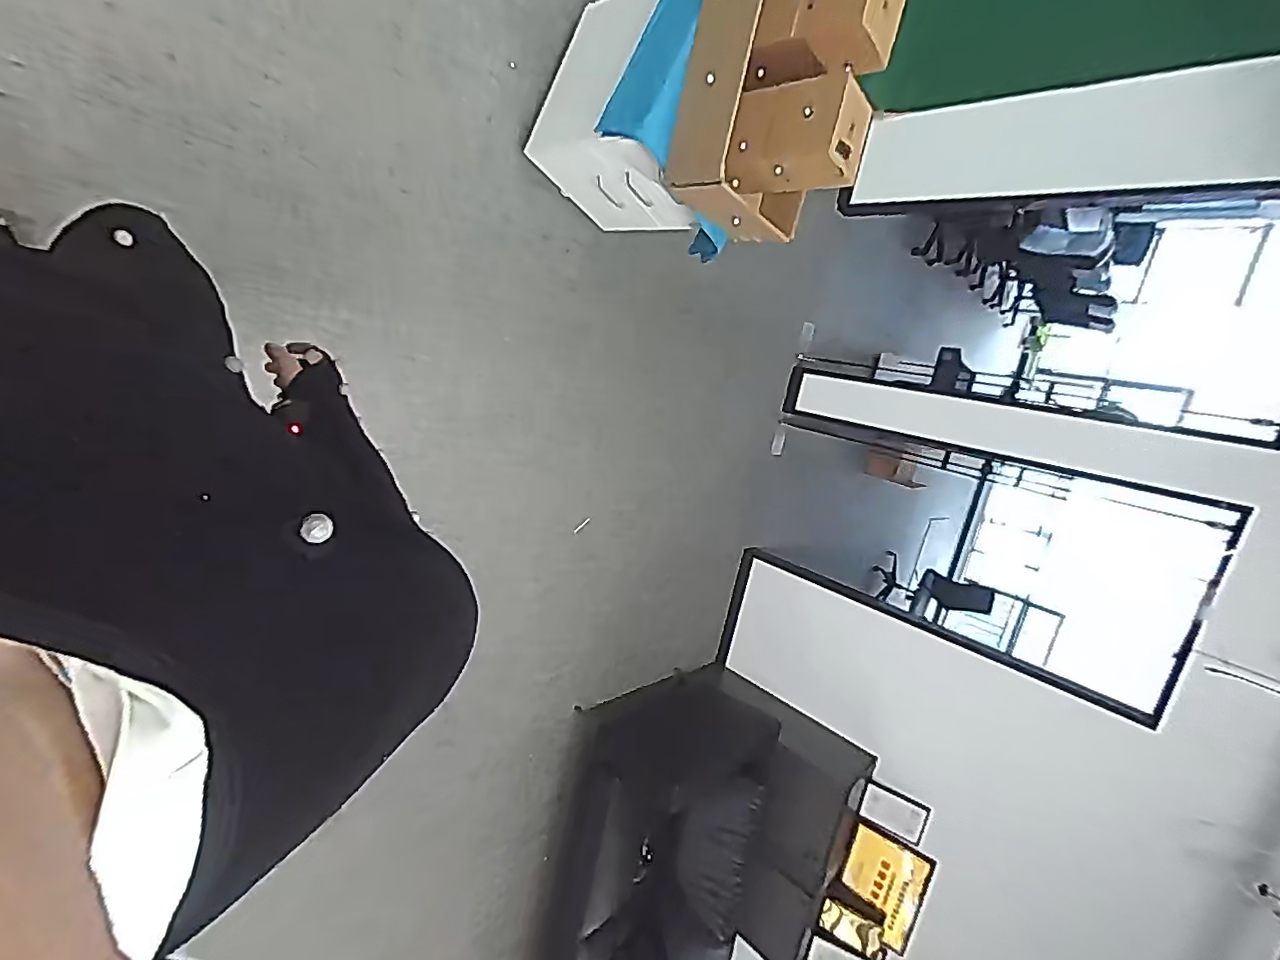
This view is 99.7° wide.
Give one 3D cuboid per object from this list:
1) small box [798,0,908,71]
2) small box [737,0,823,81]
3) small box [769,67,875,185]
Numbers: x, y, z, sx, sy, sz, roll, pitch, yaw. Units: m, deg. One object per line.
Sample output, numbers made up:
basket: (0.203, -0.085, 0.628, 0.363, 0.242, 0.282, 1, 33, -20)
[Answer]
small box: (0.491, -1.080, 1.244, 0.179, 0.176, 0.168, 1, 106, -50)
small box: (0.368, -1.127, 1.341, 0.179, 0.176, 0.168, 1, 106, -51)
small box: (0.427, -0.826, 1.284, 0.168, 0.176, 0.179, 1, 105, -50)
